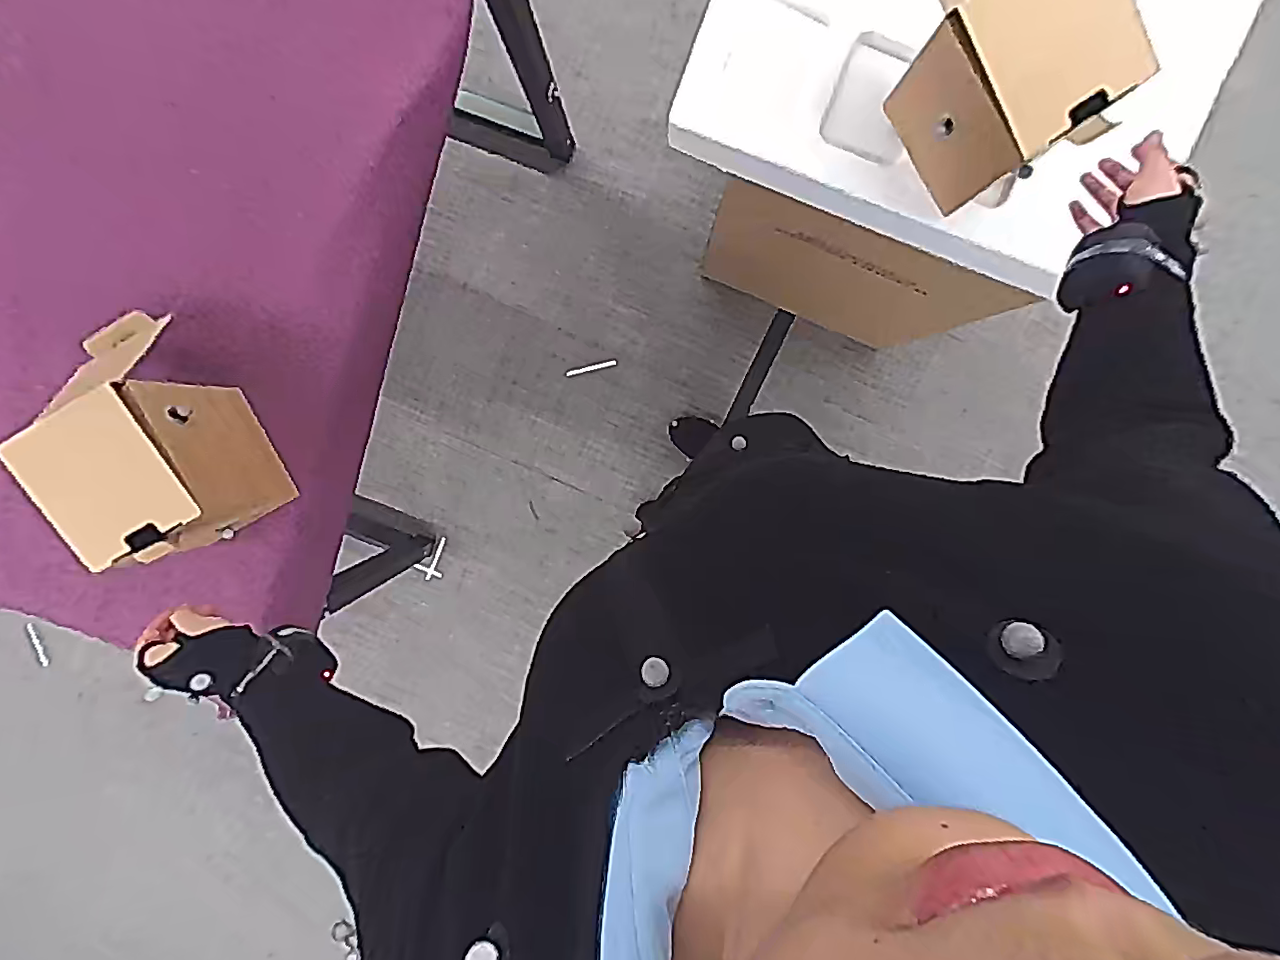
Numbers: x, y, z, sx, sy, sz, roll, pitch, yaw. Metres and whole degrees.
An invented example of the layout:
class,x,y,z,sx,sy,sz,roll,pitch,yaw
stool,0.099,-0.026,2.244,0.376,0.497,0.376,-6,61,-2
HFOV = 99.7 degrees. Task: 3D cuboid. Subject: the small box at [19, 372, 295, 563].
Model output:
class,x,y,z,sx,sy,sz,roll,pitch,yaw
small box,-0.608,-0.019,0.705,0.168,0.176,0.179,-27,94,6
